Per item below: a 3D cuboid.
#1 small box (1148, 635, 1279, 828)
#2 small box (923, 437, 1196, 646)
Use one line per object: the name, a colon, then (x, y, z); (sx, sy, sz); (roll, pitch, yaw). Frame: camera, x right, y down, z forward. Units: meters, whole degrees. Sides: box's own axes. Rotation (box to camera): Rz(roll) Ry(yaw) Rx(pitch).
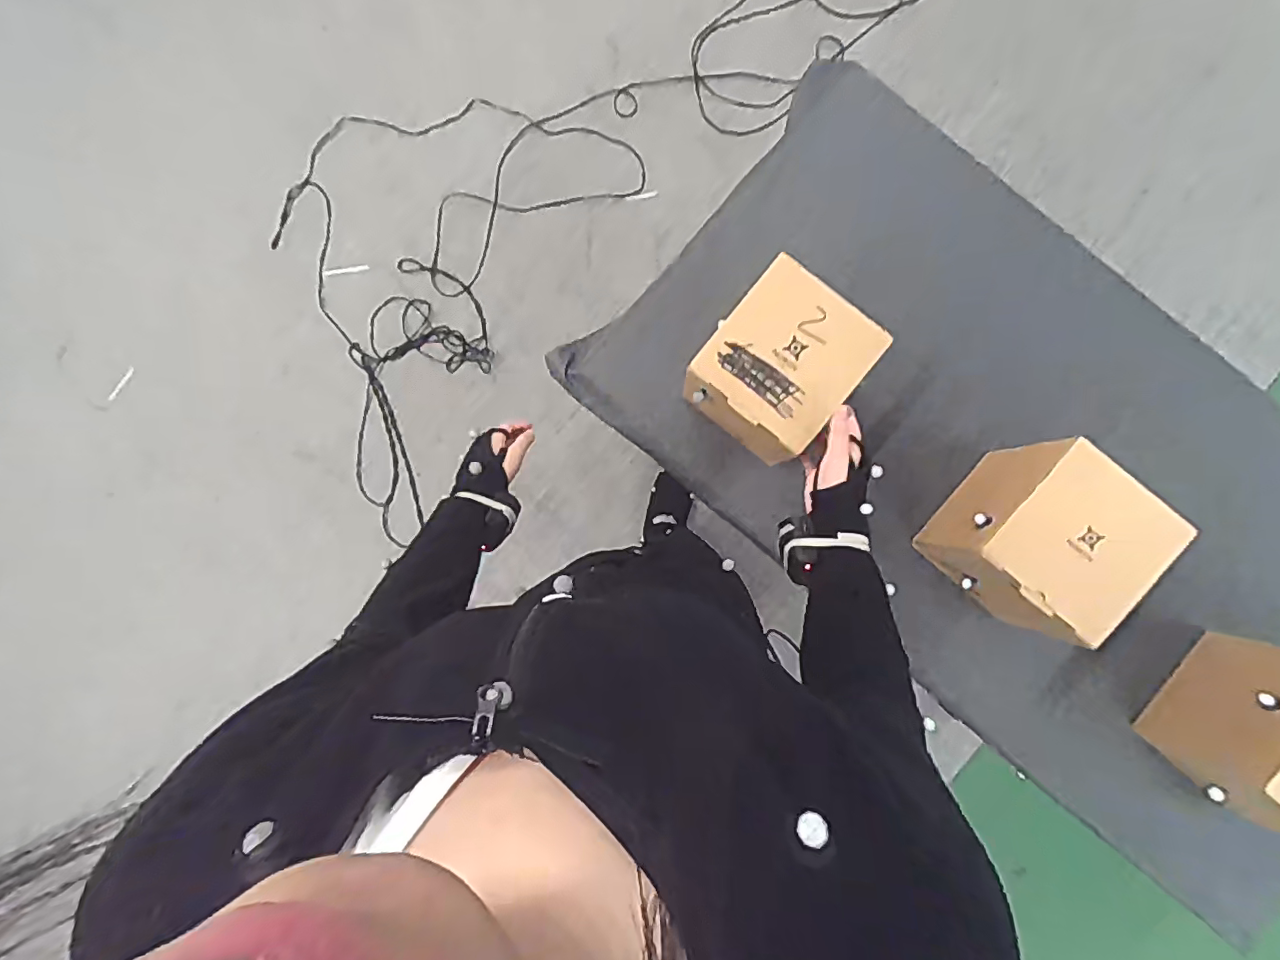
small box: (0.788, 0.314, 0.648); (0.168, 0.176, 0.179); (39, 90, 5)
small box: (0.501, 0.069, 0.678); (0.168, 0.176, 0.179); (41, 91, 4)
